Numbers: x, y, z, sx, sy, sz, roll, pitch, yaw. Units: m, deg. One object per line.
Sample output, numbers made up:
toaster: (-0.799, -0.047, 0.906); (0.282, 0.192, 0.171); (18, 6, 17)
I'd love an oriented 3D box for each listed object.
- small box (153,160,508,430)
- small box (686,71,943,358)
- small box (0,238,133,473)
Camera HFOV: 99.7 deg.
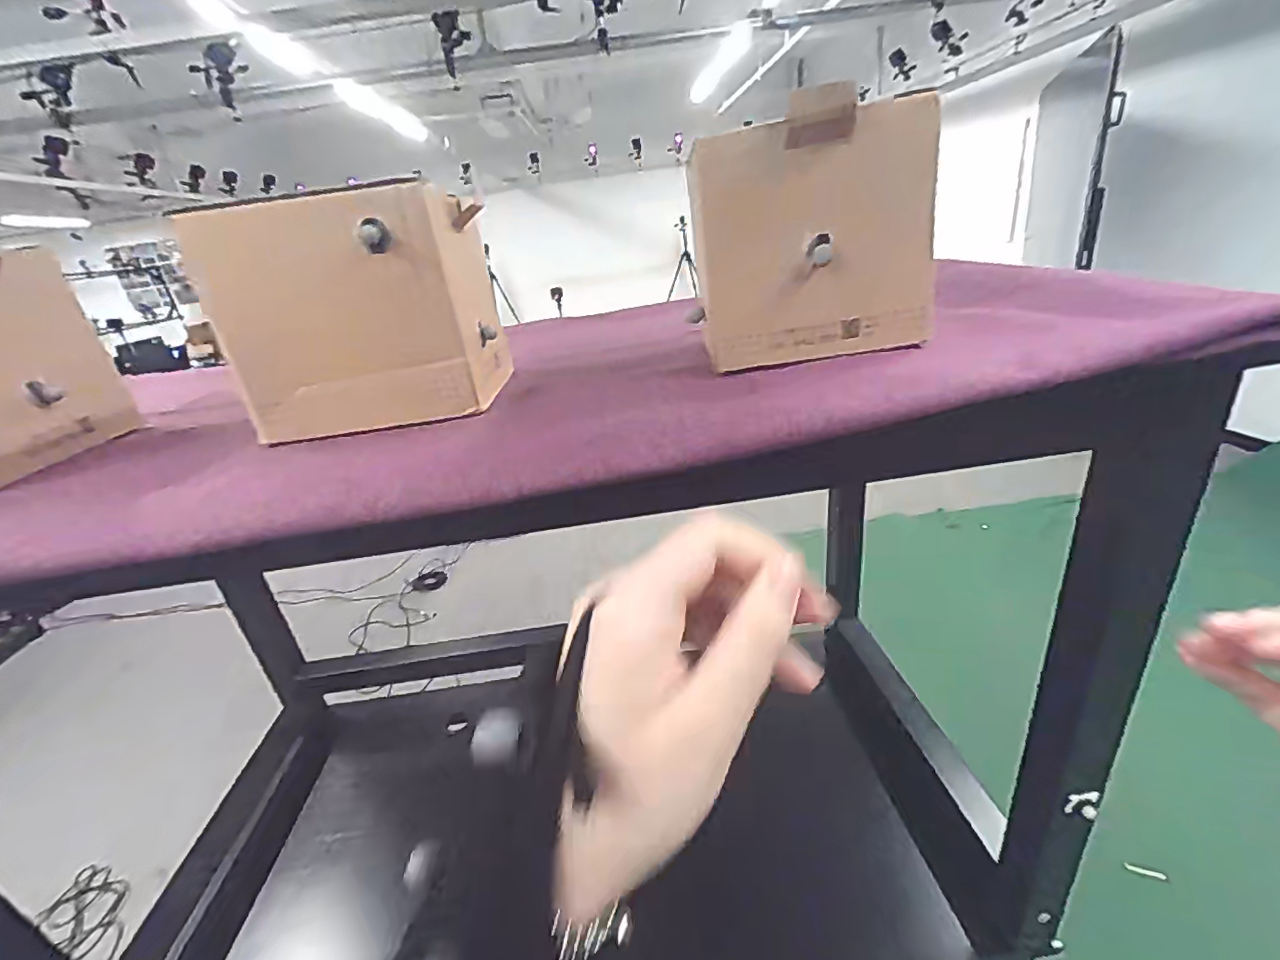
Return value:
small box: (-0.225, -0.147, 0.451); (0.179, 0.176, 0.168); (-8, 23, -1)
small box: (0.132, -0.206, 0.458); (0.168, 0.176, 0.179); (-7, 23, 6)
small box: (-0.582, -0.088, 0.426); (0.179, 0.176, 0.168); (-8, 26, -1)
